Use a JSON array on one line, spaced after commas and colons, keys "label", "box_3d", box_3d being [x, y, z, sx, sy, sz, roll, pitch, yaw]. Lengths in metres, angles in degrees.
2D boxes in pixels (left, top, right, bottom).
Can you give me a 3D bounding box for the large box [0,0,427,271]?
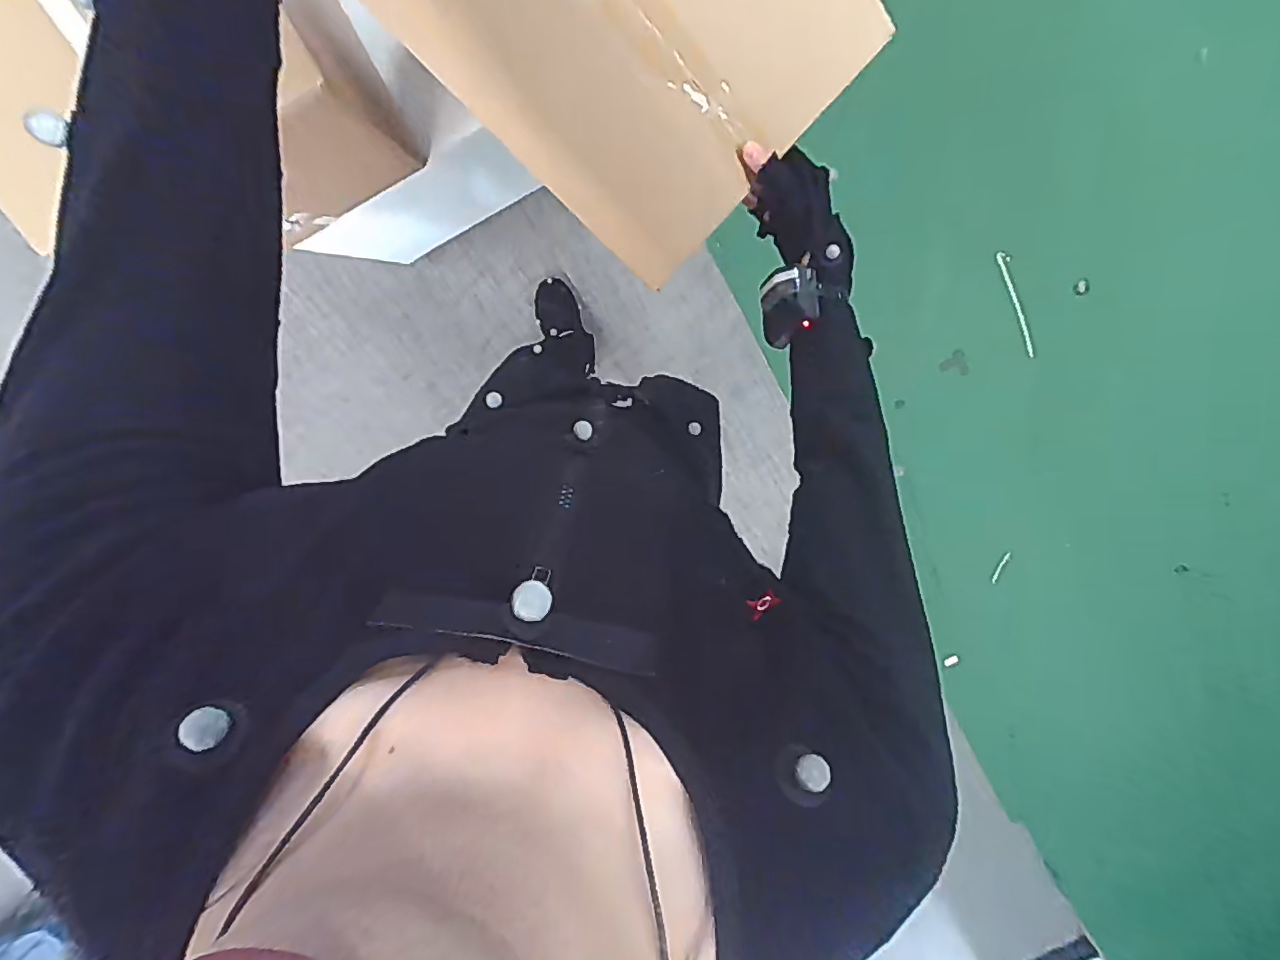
[{"label": "large box", "box_3d": [-0.505, -0.485, 0.563, 0.320, 0.320, 0.408, -27, 108, 5]}]
